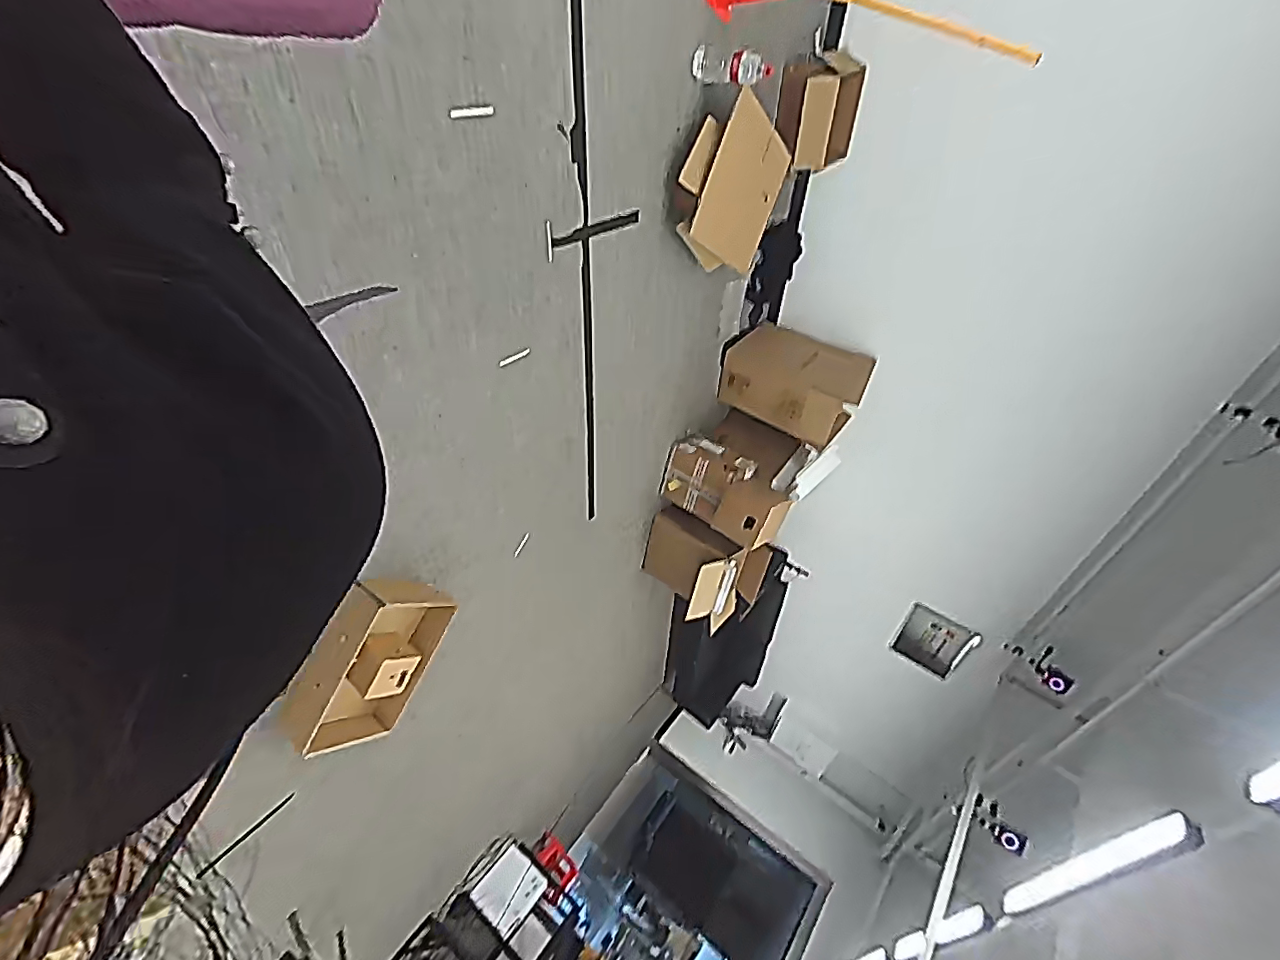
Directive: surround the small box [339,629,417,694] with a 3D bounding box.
[{"bbox_3d":[-1.009,0.690,2.079,0.168,0.176,0.179,-62,154,1],"label":"small box"}]
